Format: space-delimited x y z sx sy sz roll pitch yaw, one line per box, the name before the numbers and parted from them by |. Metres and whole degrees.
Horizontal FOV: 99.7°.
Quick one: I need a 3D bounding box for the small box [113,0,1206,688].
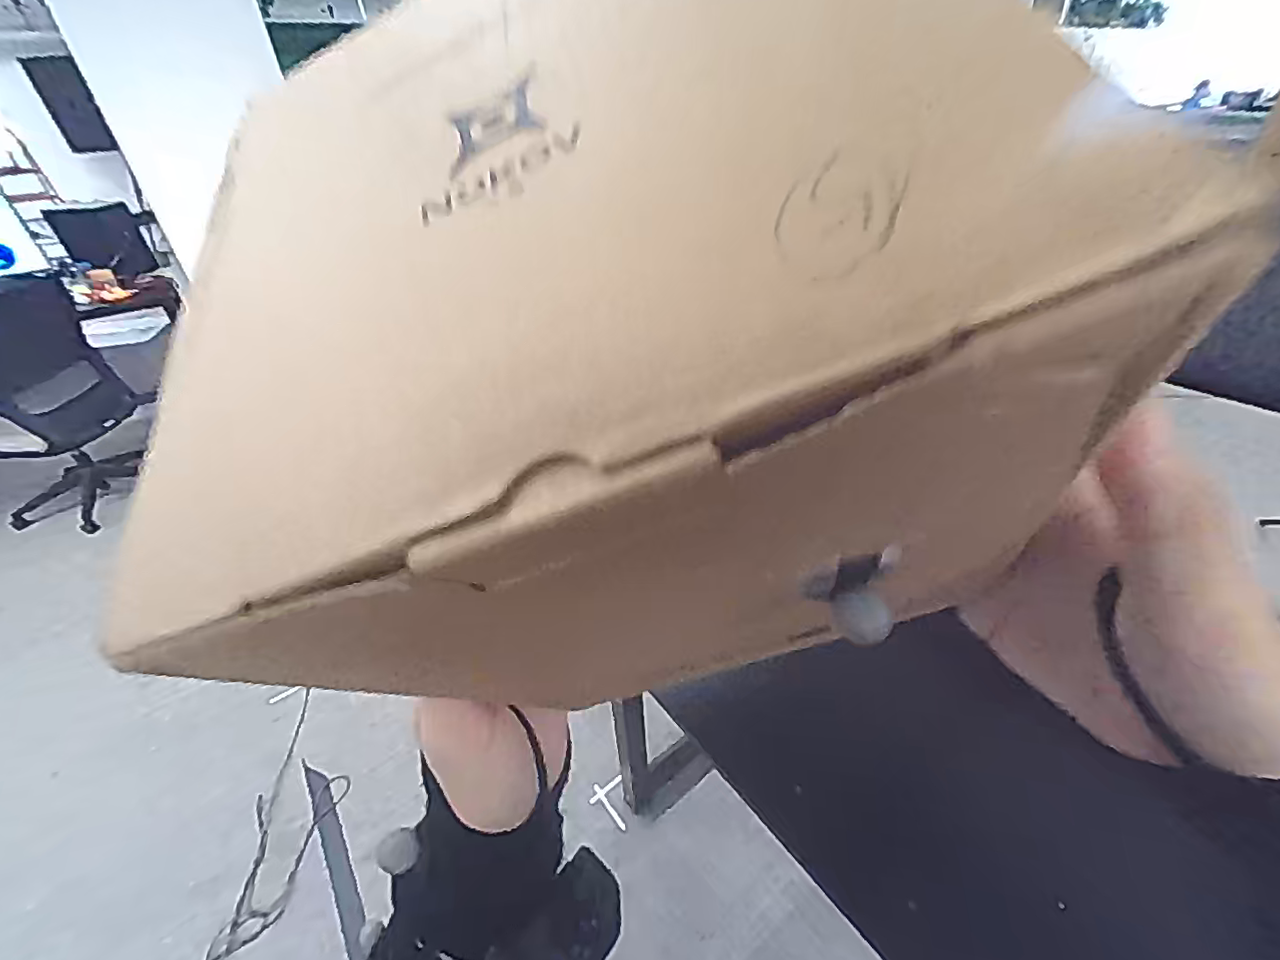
small box | -0.002 -0.038 0.181 0.168 0.176 0.179 -20 60 11
